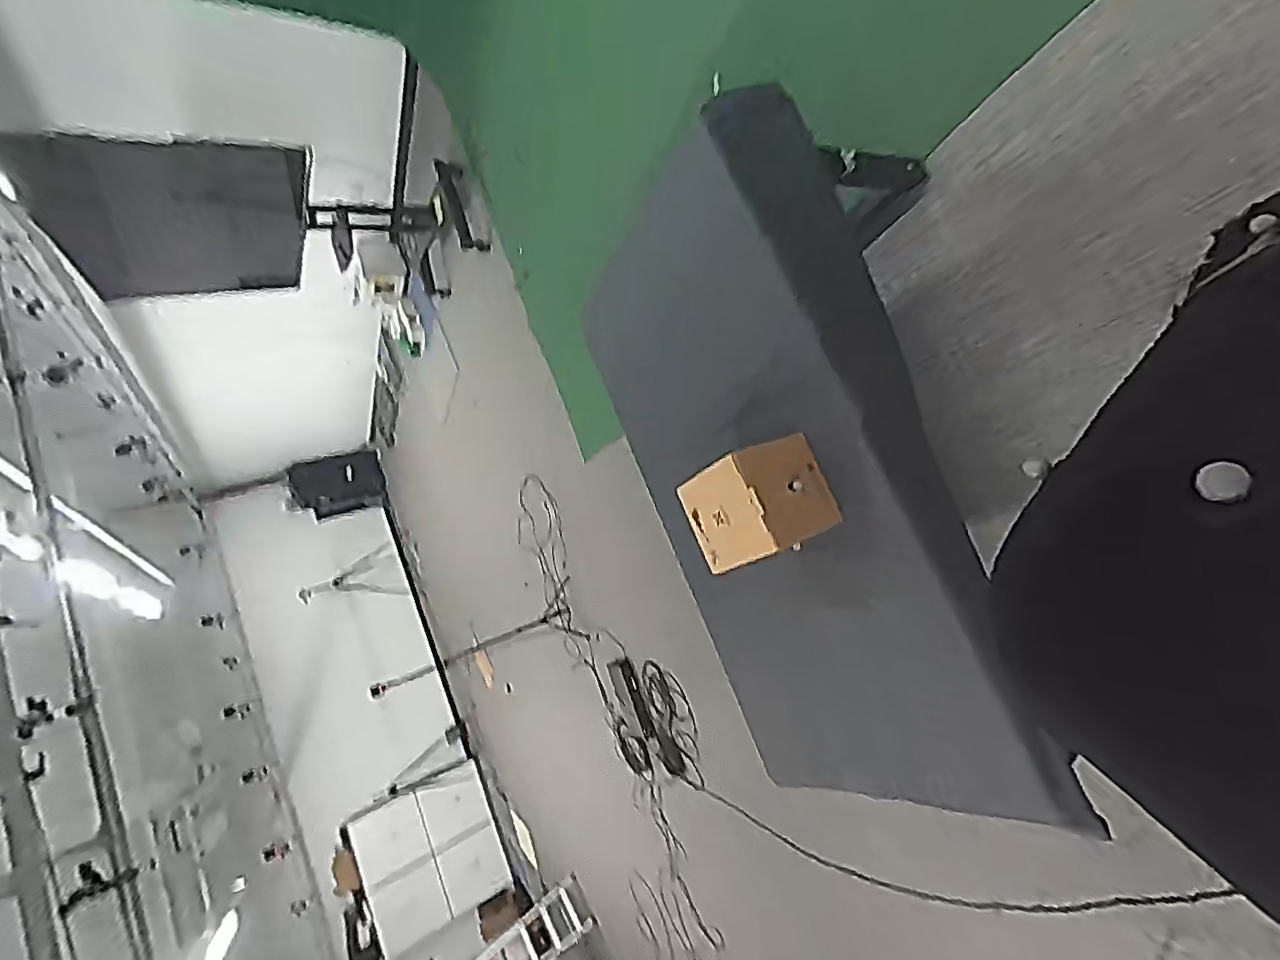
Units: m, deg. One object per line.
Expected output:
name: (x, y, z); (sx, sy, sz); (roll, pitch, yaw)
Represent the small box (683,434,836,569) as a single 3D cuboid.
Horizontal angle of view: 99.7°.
small box: (0.211, 0.035, 0.939); (0.179, 0.176, 0.168); (-38, 72, 56)
